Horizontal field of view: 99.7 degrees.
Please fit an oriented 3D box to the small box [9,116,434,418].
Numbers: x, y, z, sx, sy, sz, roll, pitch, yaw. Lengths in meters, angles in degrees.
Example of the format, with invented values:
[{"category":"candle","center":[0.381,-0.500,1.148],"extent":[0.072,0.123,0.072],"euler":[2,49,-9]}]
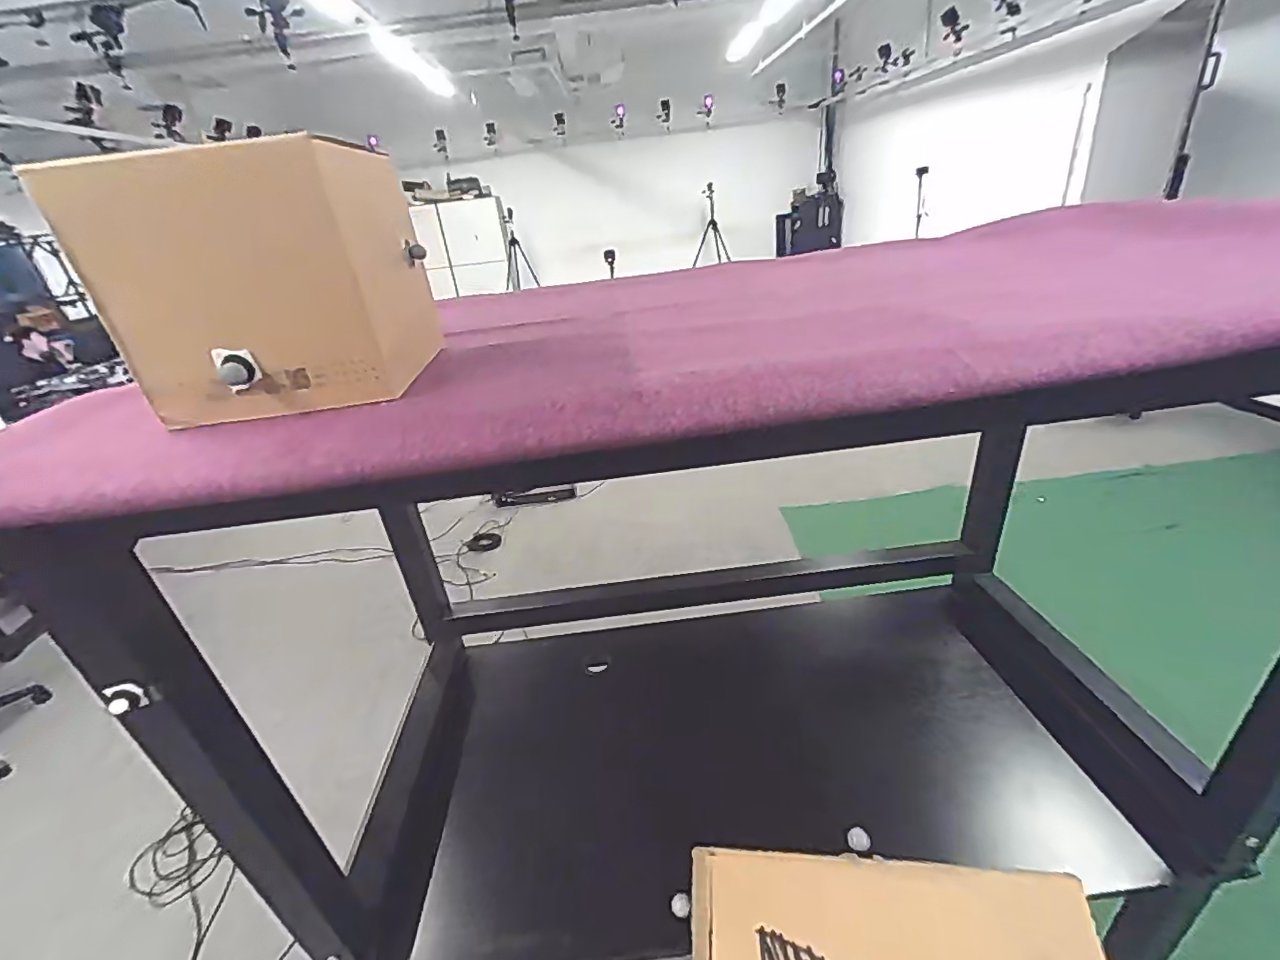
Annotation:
[{"category":"small box","center":[-0.275,-0.161,0.416],"extent":[0.168,0.176,0.179],"euler":[-10,29,-3]}]
